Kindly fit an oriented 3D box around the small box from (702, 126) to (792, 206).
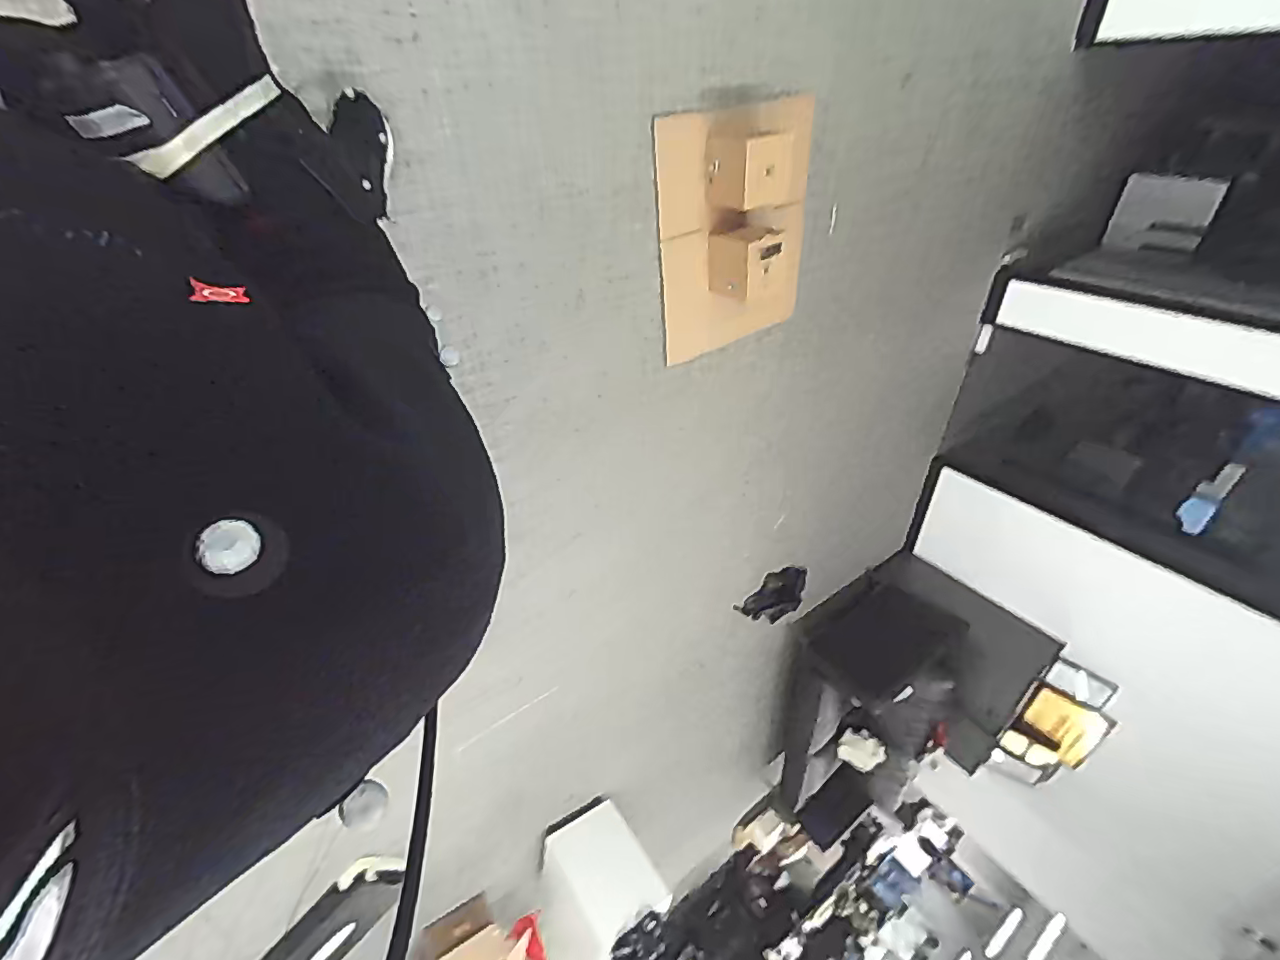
[{"bbox_3d":[0.293,-0.875,1.499,0.179,0.176,0.168,-26,132,-24],"label":"small box"}]
